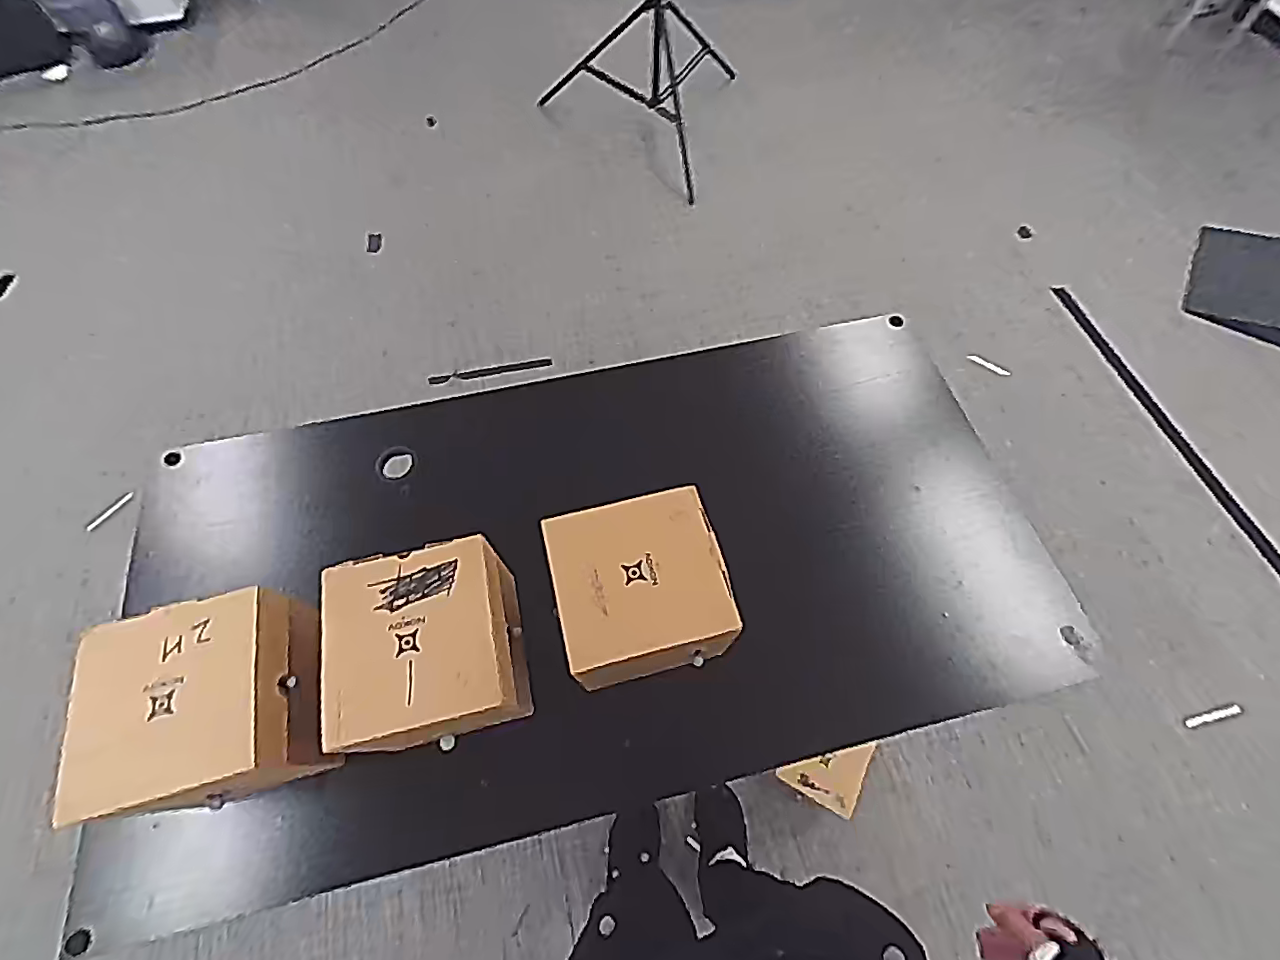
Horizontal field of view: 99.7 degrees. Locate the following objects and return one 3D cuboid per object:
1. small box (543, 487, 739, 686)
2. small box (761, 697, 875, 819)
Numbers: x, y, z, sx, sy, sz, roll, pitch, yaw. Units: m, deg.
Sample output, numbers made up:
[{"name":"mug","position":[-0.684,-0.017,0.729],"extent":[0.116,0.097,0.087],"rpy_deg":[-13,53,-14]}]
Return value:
[{"name":"small box","position":[-0.003,0.130,0.631],"extent":[0.179,0.176,0.168],"rpy_deg":[-13,64,-5]},{"name":"small box","position":[0.387,0.612,1.205],"extent":[0.168,0.176,0.179],"rpy_deg":[27,67,13]}]
